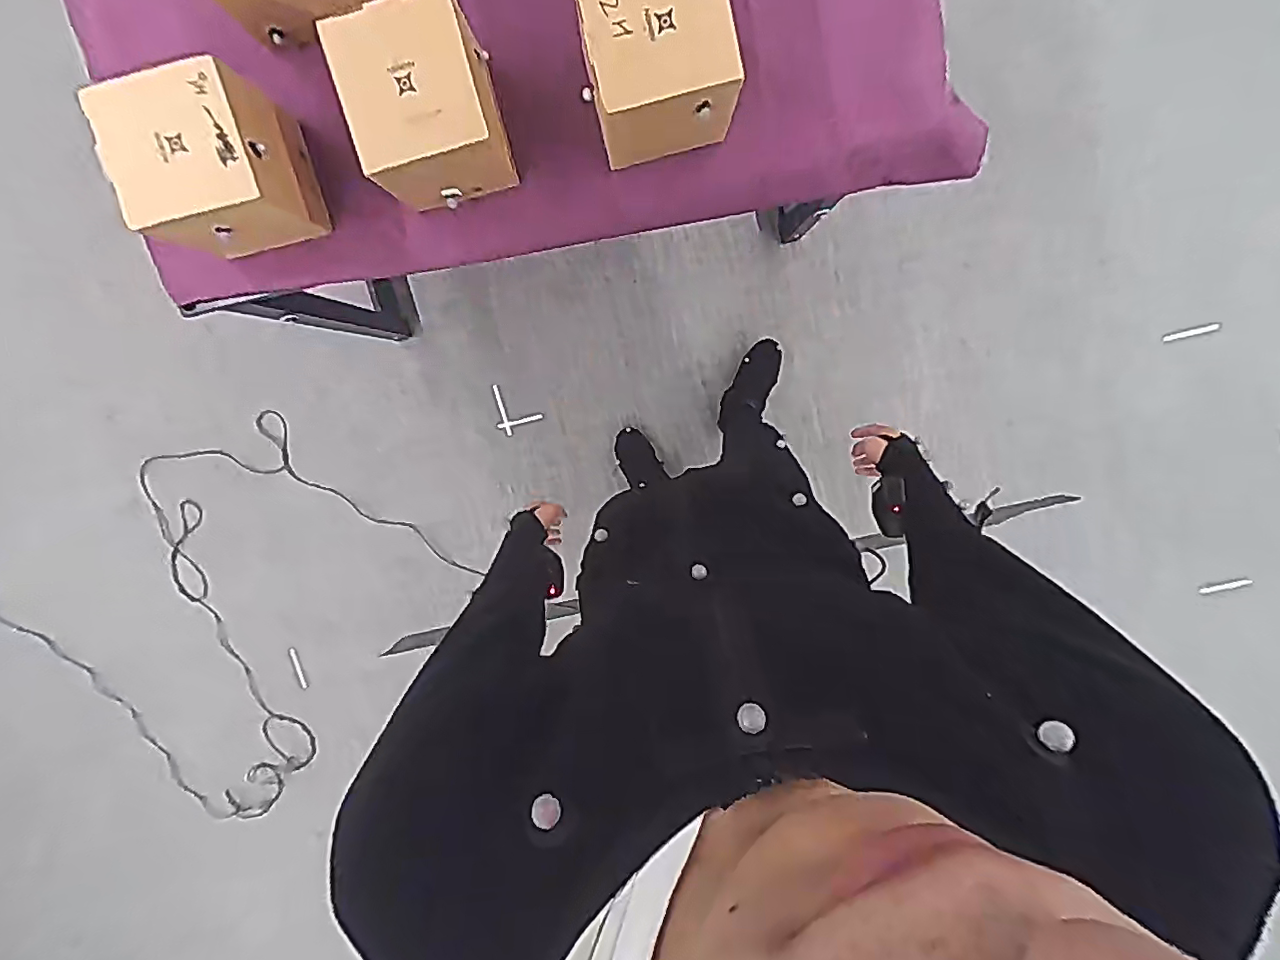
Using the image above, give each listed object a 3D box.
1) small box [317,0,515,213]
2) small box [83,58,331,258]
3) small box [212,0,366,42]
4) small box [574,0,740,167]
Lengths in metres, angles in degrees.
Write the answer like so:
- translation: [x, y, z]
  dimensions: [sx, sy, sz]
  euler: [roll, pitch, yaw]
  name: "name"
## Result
- translation: [-0.285, -0.492, 0.730]
  dimensions: [0.168, 0.176, 0.179]
  euler: [-14, 101, 3]
  name: "small box"
- translation: [-0.572, -0.421, 0.740]
  dimensions: [0.179, 0.176, 0.168]
  euler: [-13, 100, 3]
  name: "small box"
- translation: [-0.487, -0.710, 0.692]
  dimensions: [0.168, 0.176, 0.179]
  euler: [-14, 99, 2]
  name: "small box"
- translation: [0.018, -0.549, 0.716]
  dimensions: [0.179, 0.176, 0.168]
  euler: [-14, 99, 3]
  name: "small box"
